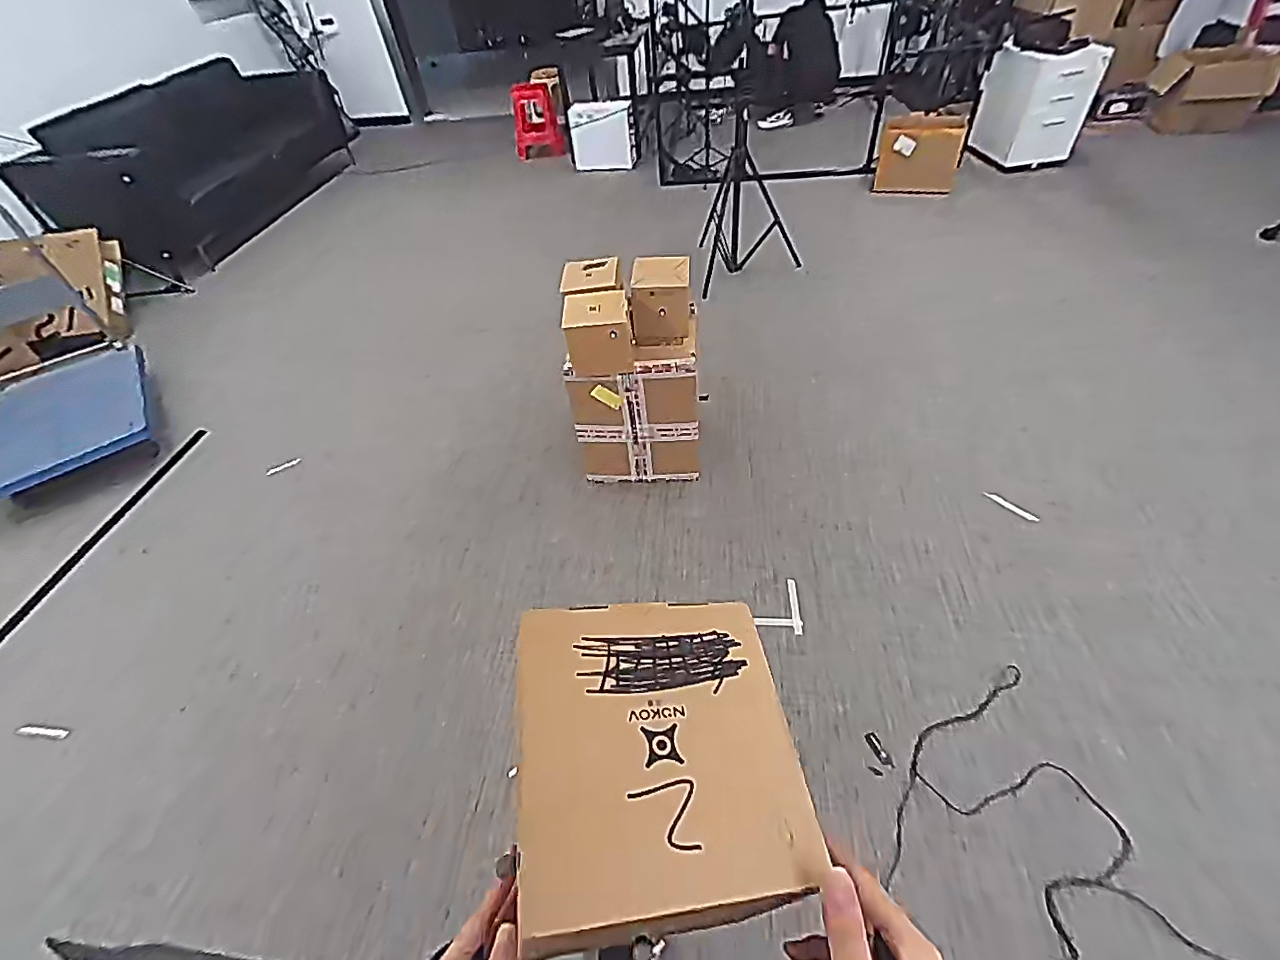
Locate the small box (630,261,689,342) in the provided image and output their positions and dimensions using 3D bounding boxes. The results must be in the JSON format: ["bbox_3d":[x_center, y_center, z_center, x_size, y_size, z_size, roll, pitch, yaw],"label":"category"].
[{"bbox_3d":[0.061,-0.537,1.625,0.168,0.176,0.179,1,48,4],"label":"small box"}]

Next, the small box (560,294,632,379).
[{"bbox_3d":[-0.119,-0.402,1.533,0.179,0.176,0.168,-5,49,3],"label":"small box"}]
